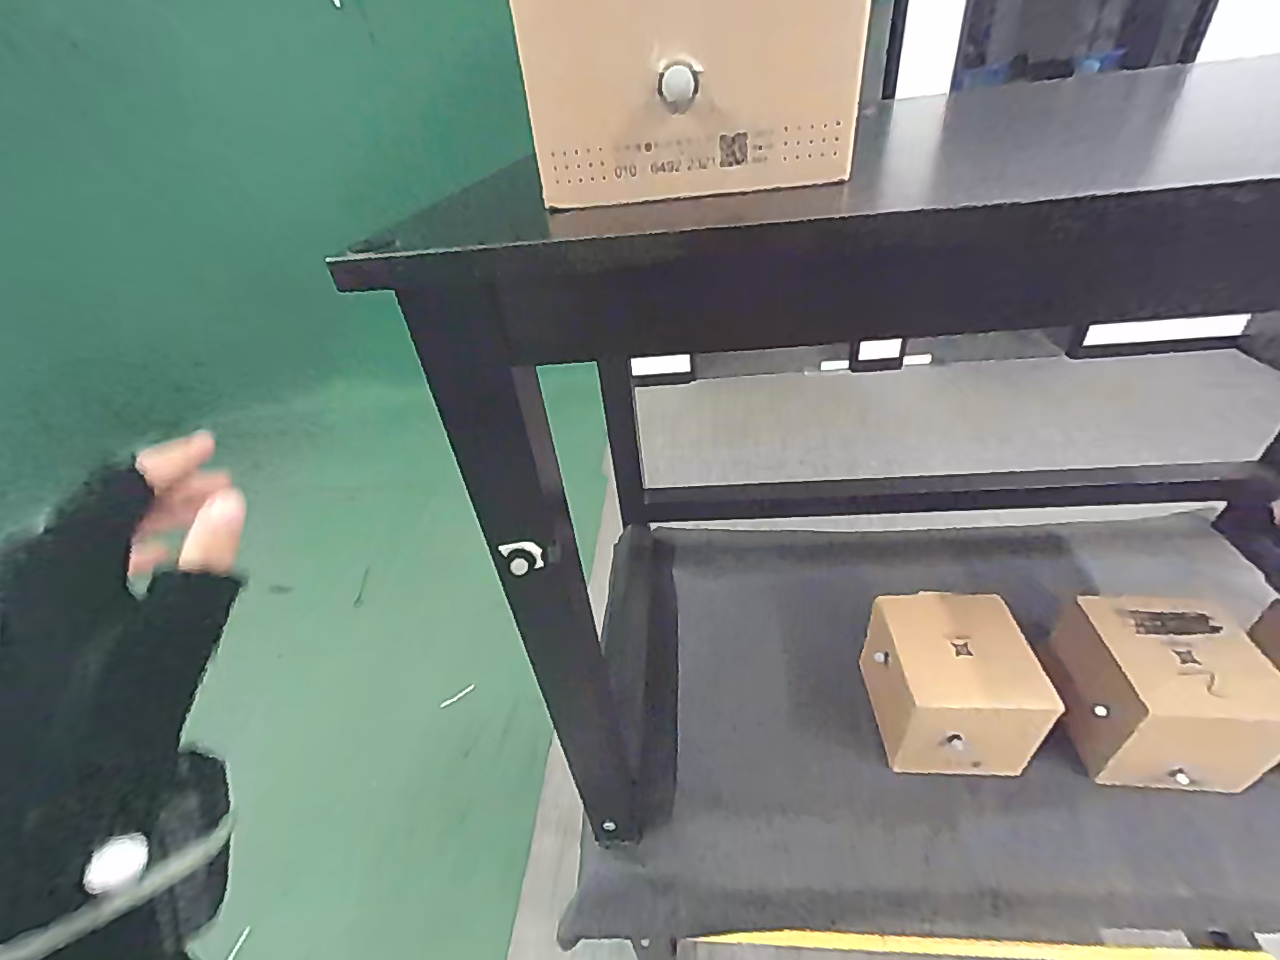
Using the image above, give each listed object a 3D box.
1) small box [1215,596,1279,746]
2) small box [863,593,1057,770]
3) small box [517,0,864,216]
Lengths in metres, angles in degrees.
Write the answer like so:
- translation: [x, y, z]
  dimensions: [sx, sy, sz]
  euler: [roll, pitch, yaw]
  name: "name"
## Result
- translation: [0.910, 0.264, 0.677]
  dimensions: [0.168, 0.176, 0.179]
  euler: [-3, 35, 6]
  name: "small box"
- translation: [0.422, 0.279, 0.750]
  dimensions: [0.168, 0.176, 0.179]
  euler: [-2, 36, 7]
  name: "small box"
- translation: [0.025, -0.264, 0.317]
  dimensions: [0.168, 0.176, 0.179]
  euler: [-3, 37, 5]
  name: "small box"
